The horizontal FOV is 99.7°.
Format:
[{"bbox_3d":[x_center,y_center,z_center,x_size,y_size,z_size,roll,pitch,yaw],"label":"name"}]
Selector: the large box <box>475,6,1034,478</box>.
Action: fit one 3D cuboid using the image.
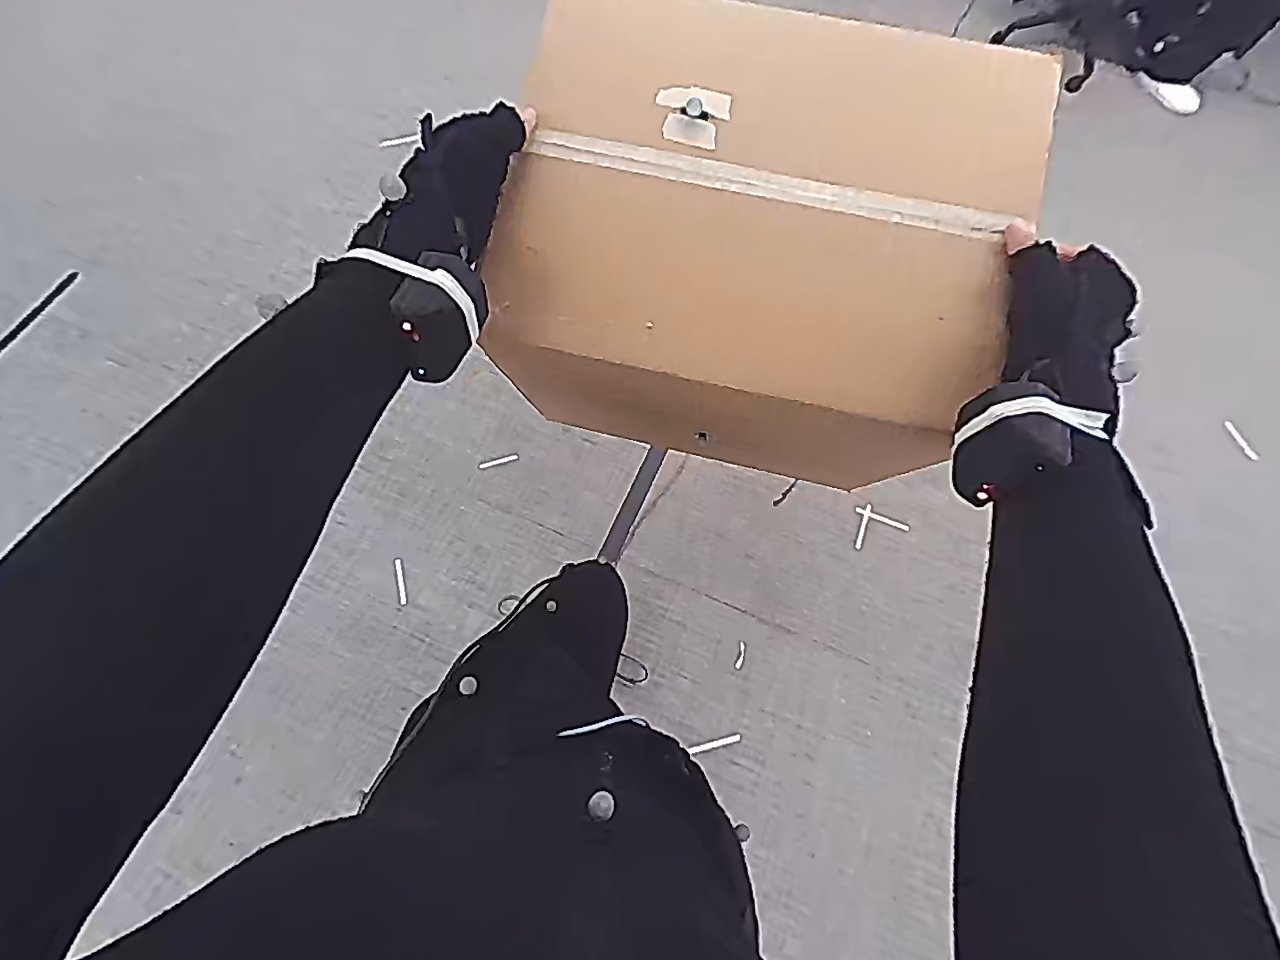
[{"bbox_3d":[0.102,-0.204,0.582,0.408,0.320,0.320,13,83,5],"label":"large box"}]
